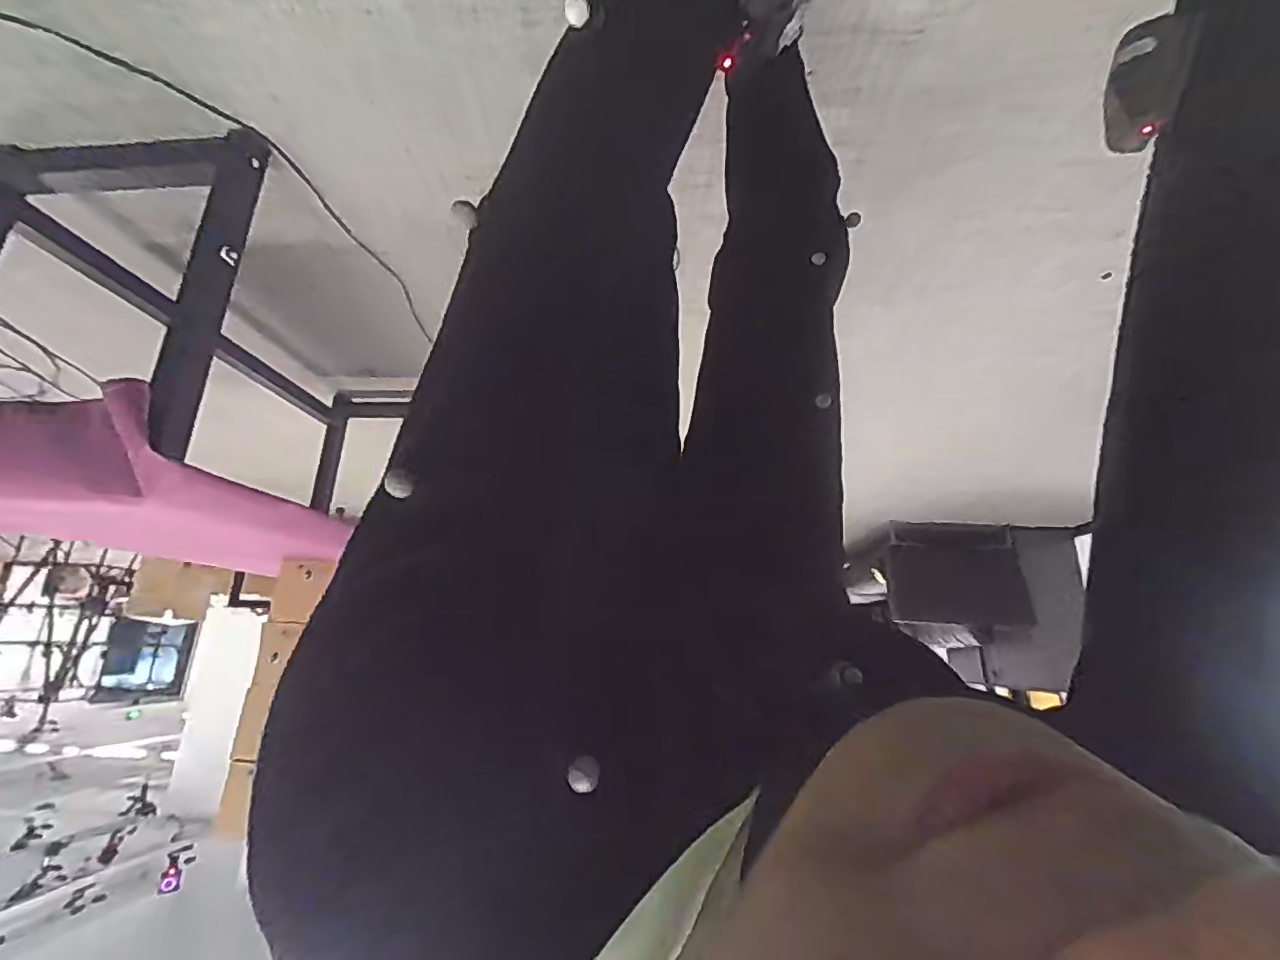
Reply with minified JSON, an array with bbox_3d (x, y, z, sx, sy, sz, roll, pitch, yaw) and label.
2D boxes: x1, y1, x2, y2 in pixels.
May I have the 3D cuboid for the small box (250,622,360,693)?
[{"bbox_3d":[-0.880,0.470,1.439,0.168,0.176,0.179,2,162,5],"label":"small box"}]

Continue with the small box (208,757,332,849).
[{"bbox_3d":[-0.900,0.781,1.337,0.168,0.176,0.179,2,161,6],"label":"small box"}]
